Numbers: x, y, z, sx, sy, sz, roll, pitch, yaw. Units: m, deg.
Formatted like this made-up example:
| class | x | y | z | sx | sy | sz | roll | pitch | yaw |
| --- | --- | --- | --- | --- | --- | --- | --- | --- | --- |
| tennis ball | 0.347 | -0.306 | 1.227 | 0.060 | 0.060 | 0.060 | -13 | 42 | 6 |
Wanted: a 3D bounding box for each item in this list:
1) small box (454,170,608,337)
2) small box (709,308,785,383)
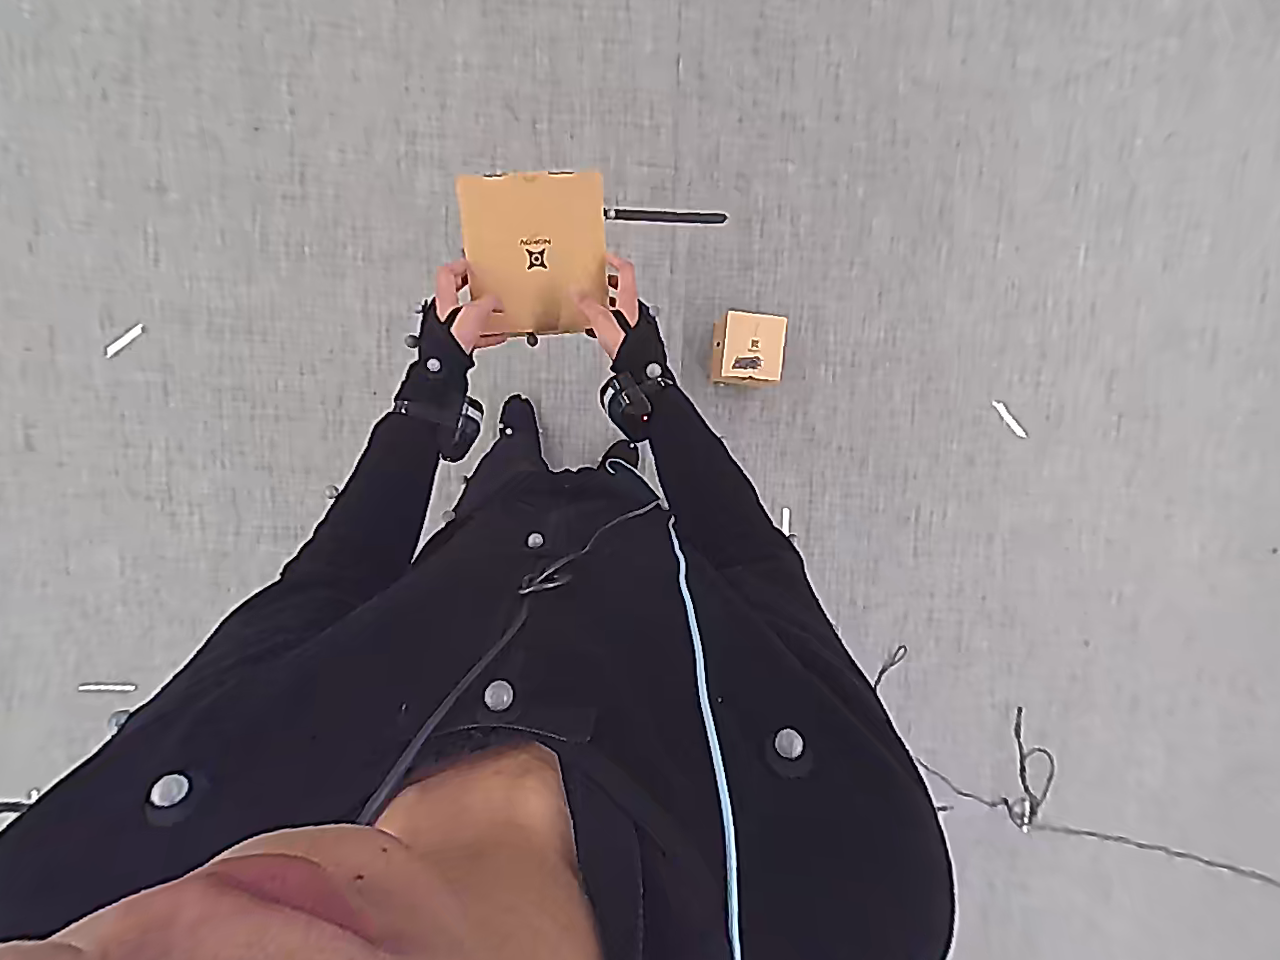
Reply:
| class | x | y | z | sx | sy | sz | roll | pitch | yaw |
| --- | --- | --- | --- | --- | --- | --- | --- | --- | --- |
| small box | -0.128 | -0.279 | 0.703 | 0.168 | 0.176 | 0.179 | -5 | 103 | -4 |
| small box | 0.297 | -0.373 | 1.531 | 0.168 | 0.176 | 0.179 | 5 | 95 | -5 |
